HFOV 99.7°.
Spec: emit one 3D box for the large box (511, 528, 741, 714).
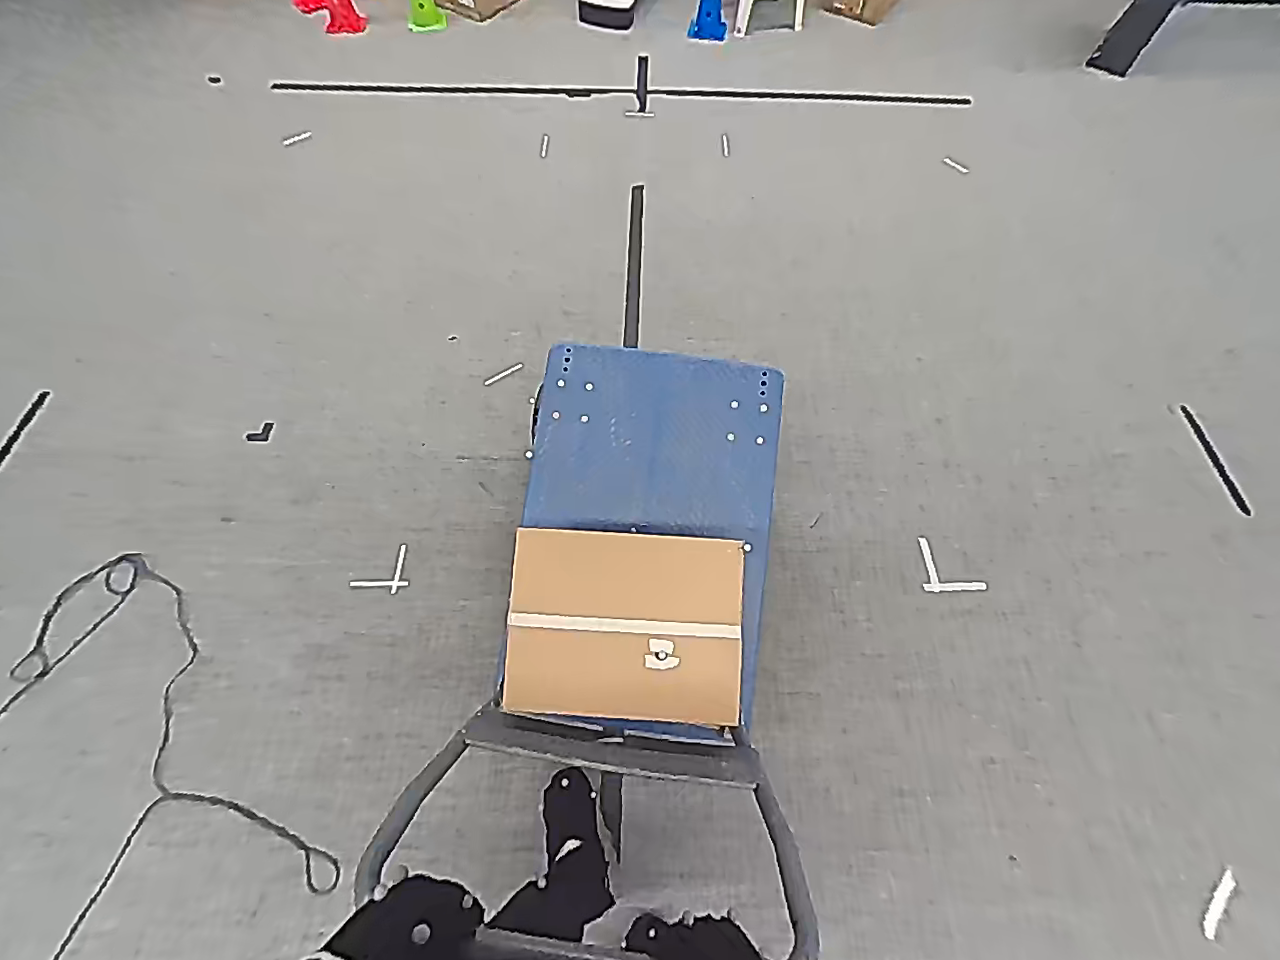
[{"bbox_3d":[-0.024,0.269,1.107,0.408,0.320,0.320,3,83,1],"label":"large box"}]
